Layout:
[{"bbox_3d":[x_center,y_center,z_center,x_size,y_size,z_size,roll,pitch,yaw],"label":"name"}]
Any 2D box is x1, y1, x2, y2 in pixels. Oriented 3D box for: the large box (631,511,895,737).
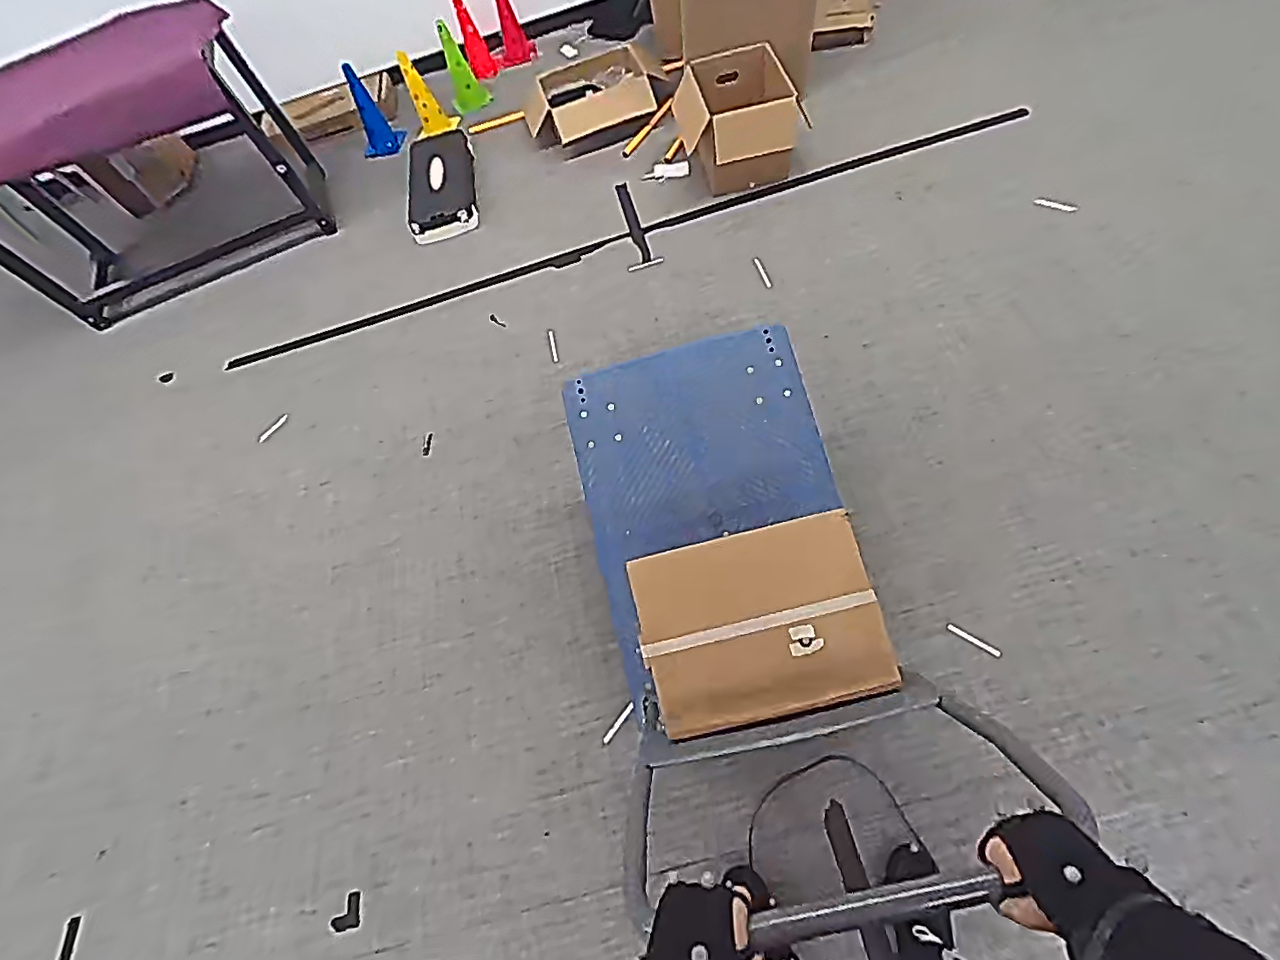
[{"bbox_3d":[0.221,0.277,1.101,0.408,0.320,0.320,-14,80,2],"label":"large box"}]
